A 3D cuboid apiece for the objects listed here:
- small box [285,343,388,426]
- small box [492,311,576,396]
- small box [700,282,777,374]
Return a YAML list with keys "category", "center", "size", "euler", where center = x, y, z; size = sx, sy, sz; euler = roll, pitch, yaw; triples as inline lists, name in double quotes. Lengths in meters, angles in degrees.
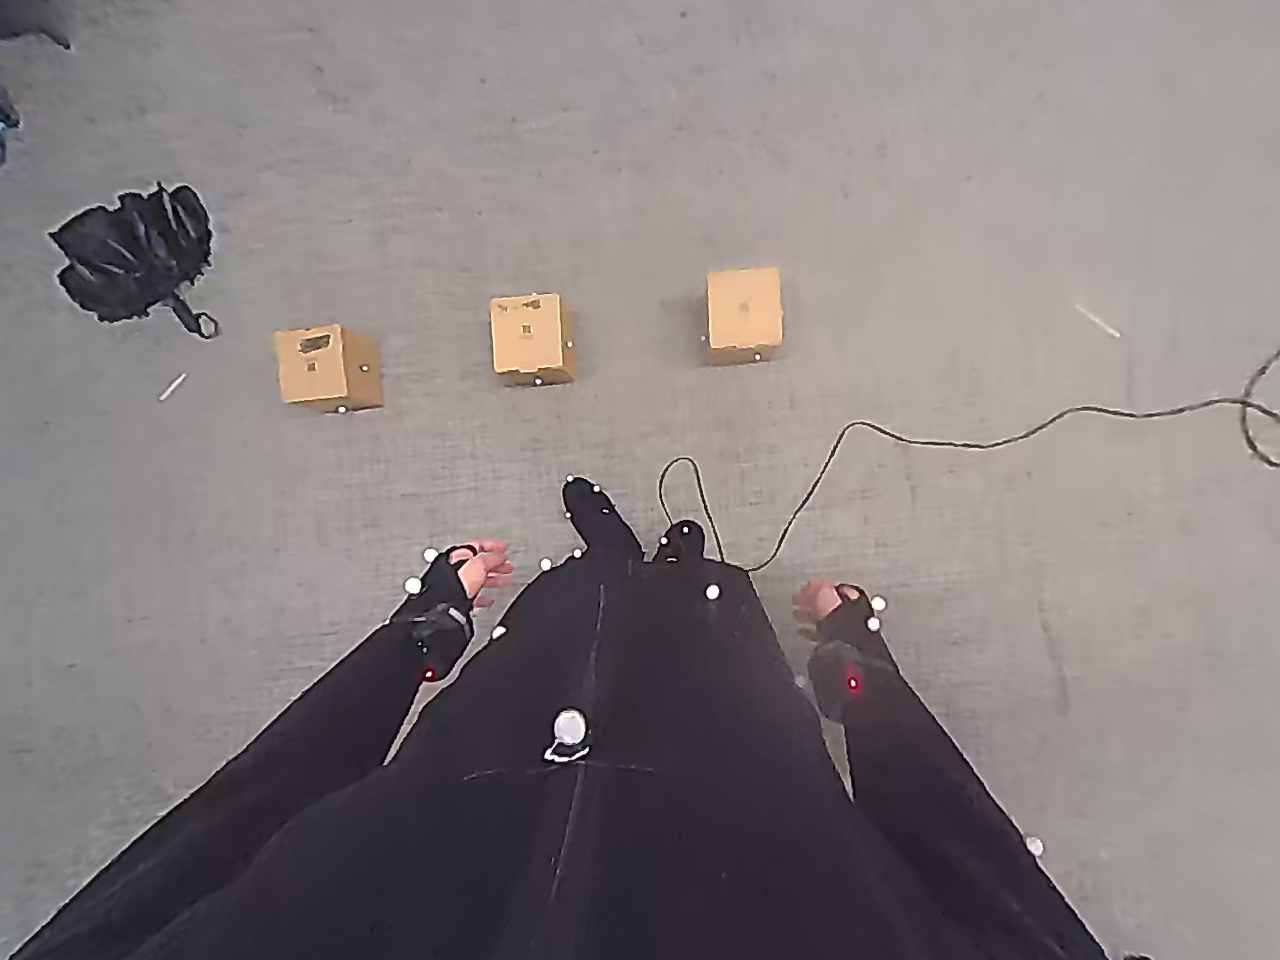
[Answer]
- category: "small box"
  center: [-0.778, -0.241, 1.401]
  size: [0.168, 0.176, 0.179]
  euler: [-6, 90, 5]
- category: "small box"
  center: [-0.261, -0.310, 1.364]
  size: [0.168, 0.176, 0.179]
  euler: [-4, 90, 4]
- category: "small box"
  center: [0.235, -0.362, 1.327]
  size: [0.168, 0.176, 0.179]
  euler: [-4, 88, 4]
